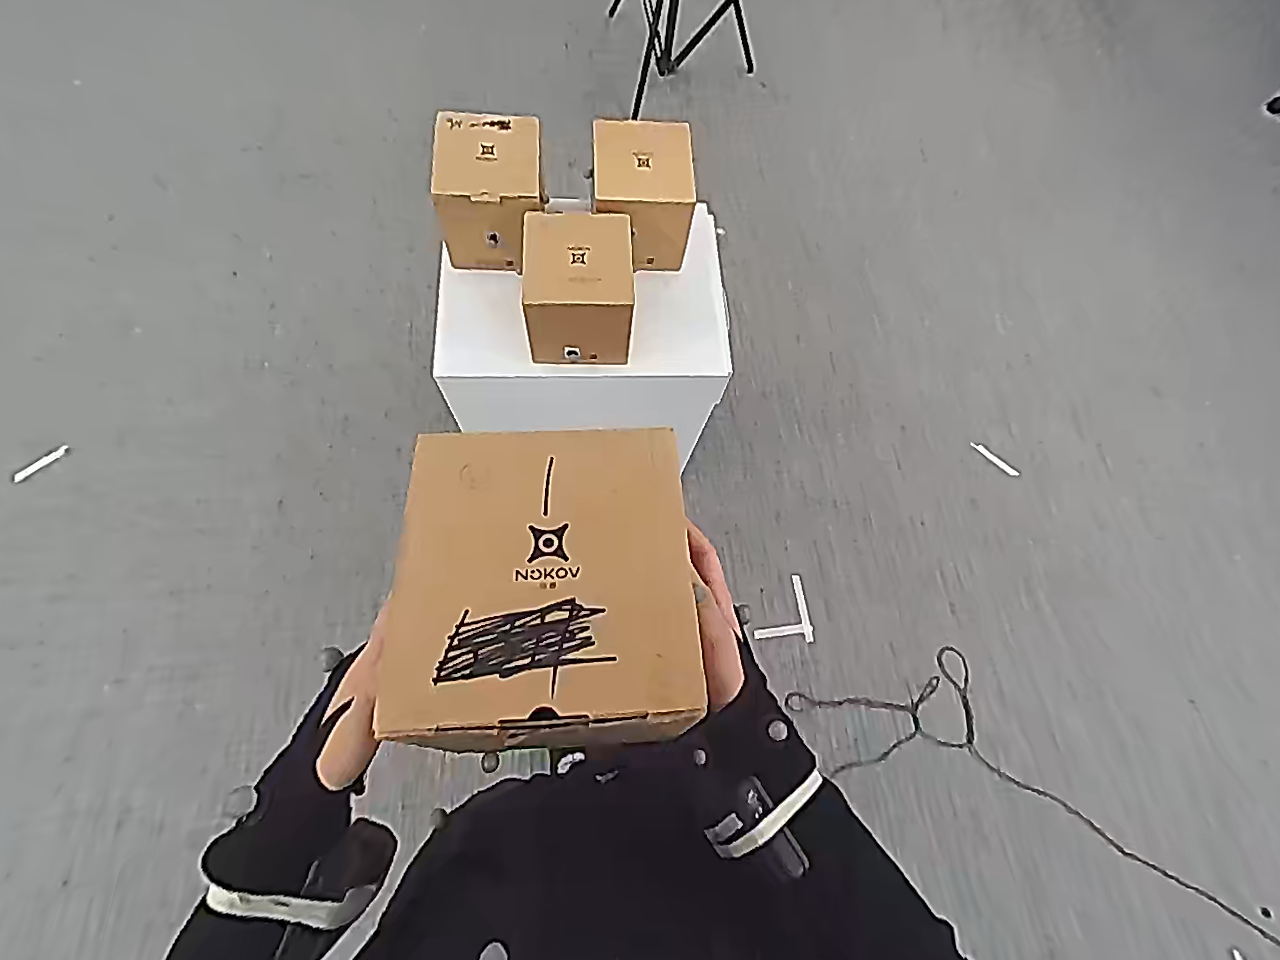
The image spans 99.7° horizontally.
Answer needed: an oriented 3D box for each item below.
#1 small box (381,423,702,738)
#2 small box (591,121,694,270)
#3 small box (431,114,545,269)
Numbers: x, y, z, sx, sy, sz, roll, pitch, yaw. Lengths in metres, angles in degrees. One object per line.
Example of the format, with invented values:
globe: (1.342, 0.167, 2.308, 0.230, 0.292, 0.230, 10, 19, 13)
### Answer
small box: (-0.056, 0.080, 0.380, 0.168, 0.176, 0.179, -2, 60, -4)
small box: (-0.003, -0.499, 0.966, 0.168, 0.176, 0.179, -1, 71, -6)
small box: (-0.252, -0.488, 0.935, 0.168, 0.176, 0.179, -1, 73, -7)
